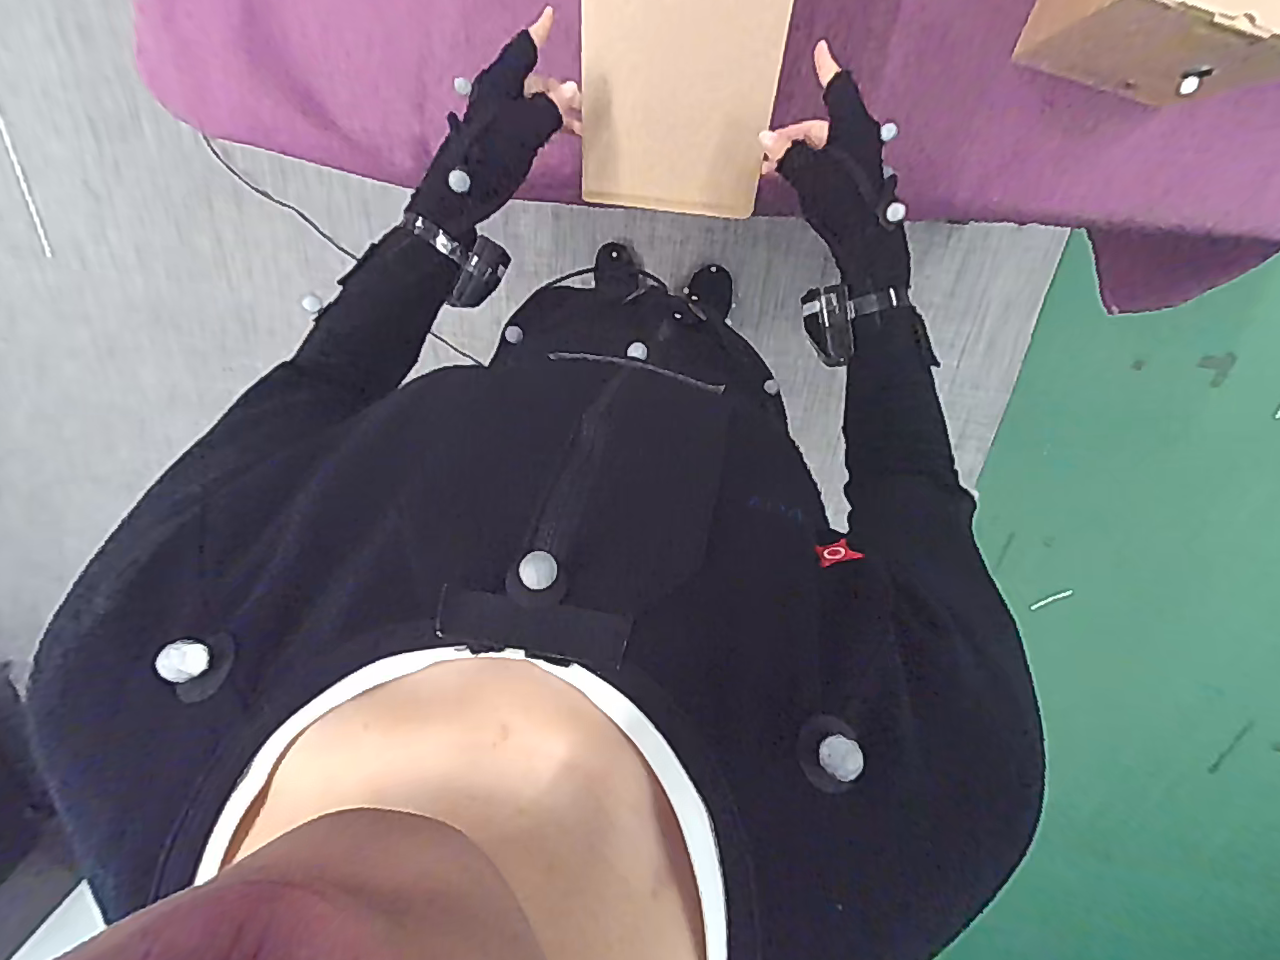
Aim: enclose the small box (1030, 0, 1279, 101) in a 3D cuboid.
[{"bbox_3d":[0.454,-0.428,0.419,0.168,0.176,0.179,16,115,-2],"label":"small box"}]
